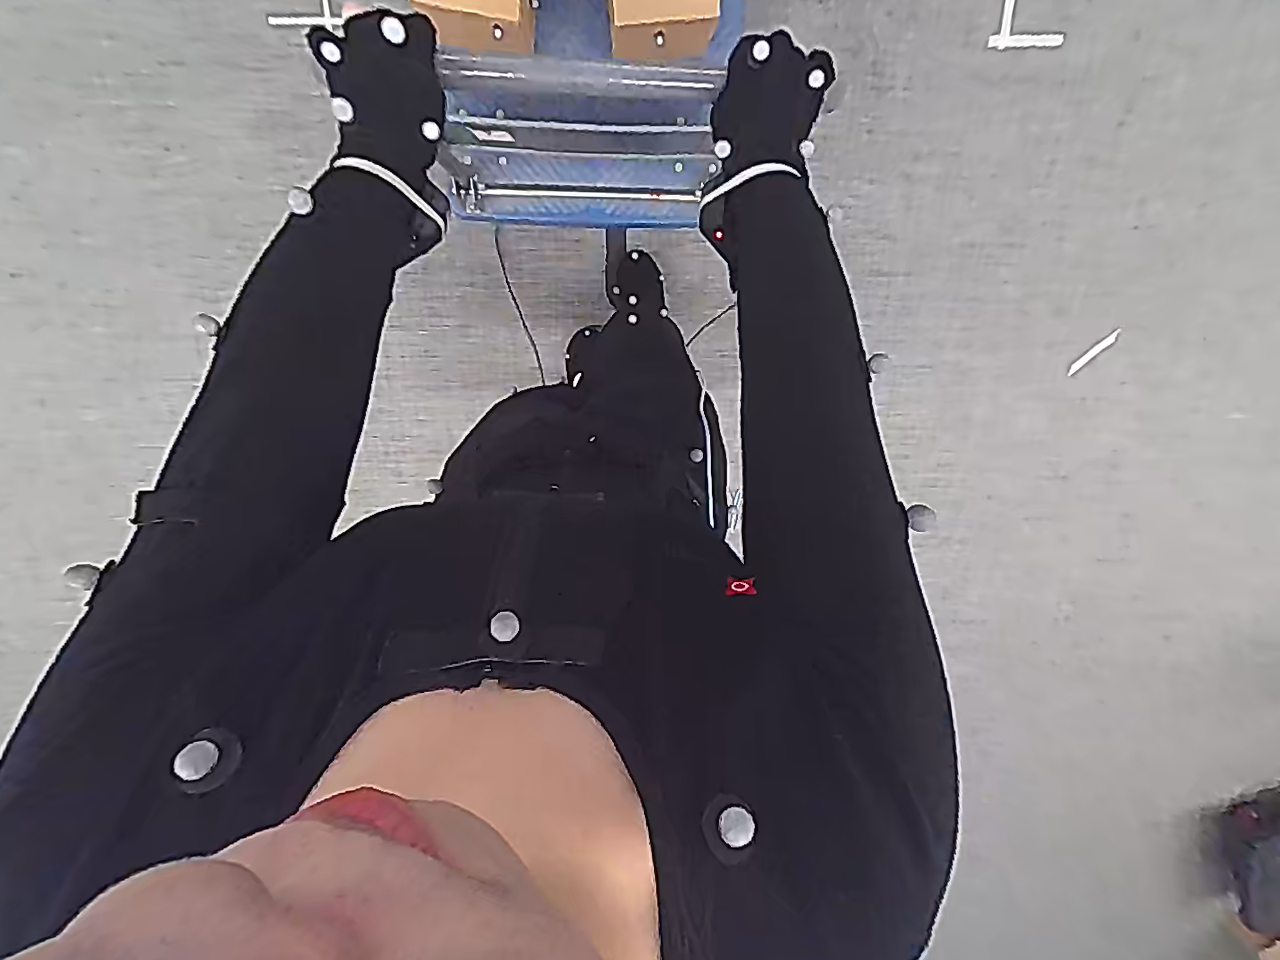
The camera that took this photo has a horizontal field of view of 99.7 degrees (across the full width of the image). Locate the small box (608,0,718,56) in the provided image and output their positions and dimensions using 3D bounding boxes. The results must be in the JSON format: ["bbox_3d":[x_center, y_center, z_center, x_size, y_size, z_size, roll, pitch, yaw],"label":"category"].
[{"bbox_3d":[0.030,-0.846,0.910,0.179,0.176,0.168,-6,111,-1],"label":"small box"}]

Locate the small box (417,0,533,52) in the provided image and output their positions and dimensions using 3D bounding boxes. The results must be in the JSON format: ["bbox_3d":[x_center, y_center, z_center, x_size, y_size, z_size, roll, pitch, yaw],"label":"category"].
[{"bbox_3d":[-0.274,-0.845,0.892,0.179,0.176,0.168,5,110,-7],"label":"small box"}]
